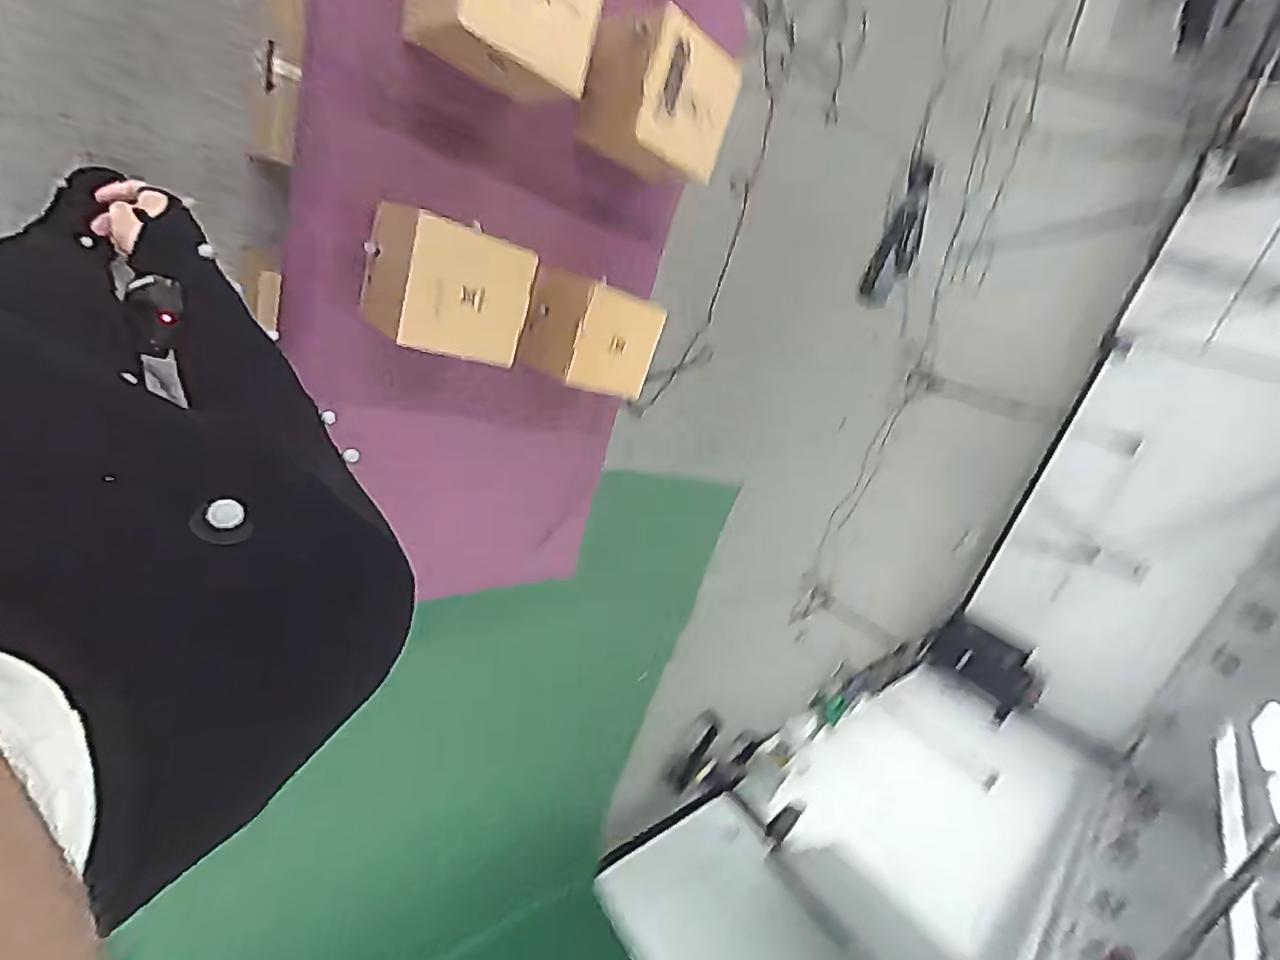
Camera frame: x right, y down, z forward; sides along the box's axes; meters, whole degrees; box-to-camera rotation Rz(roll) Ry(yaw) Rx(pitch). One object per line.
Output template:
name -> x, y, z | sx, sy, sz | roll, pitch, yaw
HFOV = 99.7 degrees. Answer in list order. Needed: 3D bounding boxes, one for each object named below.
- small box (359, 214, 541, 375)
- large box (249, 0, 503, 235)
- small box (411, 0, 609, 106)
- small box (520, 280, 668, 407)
small box -> -0.278, -0.268, 0.783 | 0.179, 0.176, 0.168 | 4, 111, -46
large box -> -0.578, -0.773, 1.180 | 0.408, 0.320, 0.320 | 1, 115, -45
small box -> -0.163, -0.596, 0.678 | 0.179, 0.176, 0.168 | 0, 115, -46
small box -> -0.087, -0.247, 0.980 | 0.179, 0.176, 0.168 | 5, 112, -44
